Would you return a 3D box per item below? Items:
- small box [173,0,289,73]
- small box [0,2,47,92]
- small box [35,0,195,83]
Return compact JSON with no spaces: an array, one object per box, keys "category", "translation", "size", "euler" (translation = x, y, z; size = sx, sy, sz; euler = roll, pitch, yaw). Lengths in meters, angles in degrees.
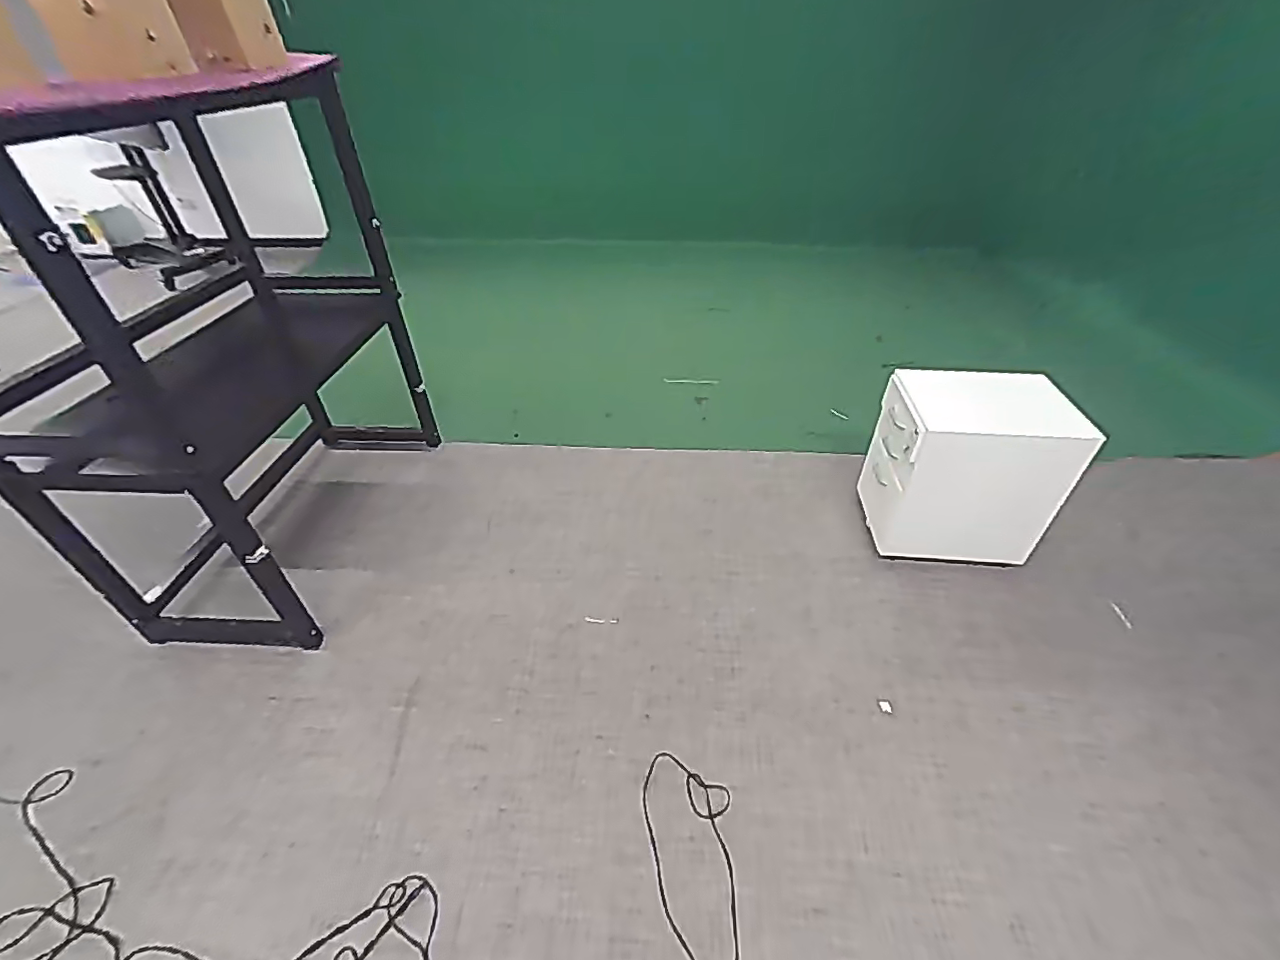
[{"category":"small box","translation":[-1.109,-1.229,1.482],"size":[0.168,0.176,0.179],"euler":[3,42,9]},{"category":"small box","translation":[-1.175,-0.743,0.895],"size":[0.168,0.176,0.179],"euler":[-1,40,-1]},{"category":"small box","translation":[-1.171,-1.008,1.217],"size":[0.179,0.176,0.168],"euler":[2,39,4]}]
